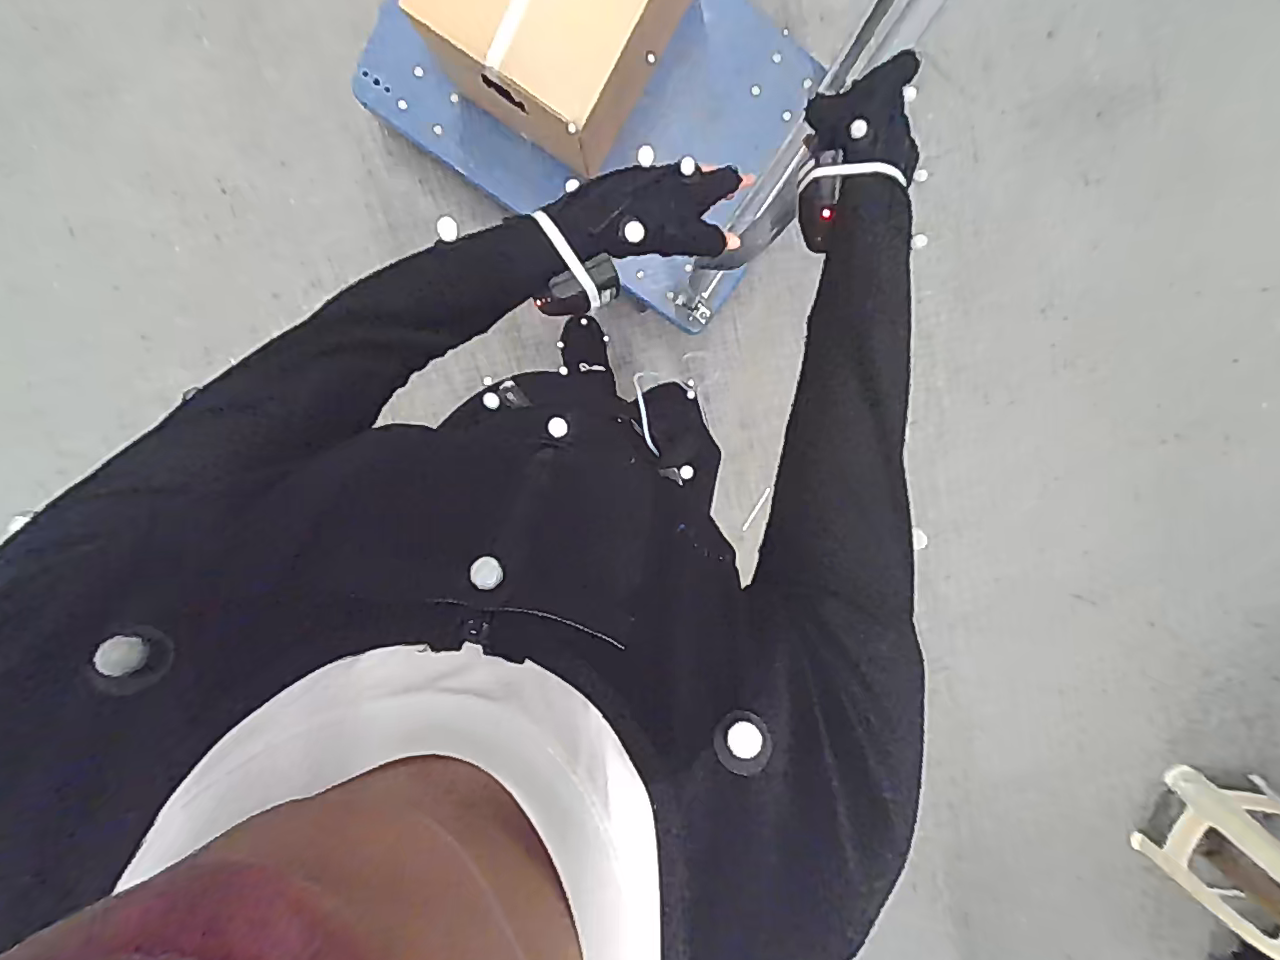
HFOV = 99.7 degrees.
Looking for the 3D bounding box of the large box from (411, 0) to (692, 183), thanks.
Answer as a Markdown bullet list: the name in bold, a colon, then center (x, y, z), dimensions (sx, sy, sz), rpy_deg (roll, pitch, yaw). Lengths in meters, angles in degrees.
- **large box**: center (-0.118, -0.818, 0.931), dimensions (0.320, 0.320, 0.408), rpy_deg (31, 103, -8)
